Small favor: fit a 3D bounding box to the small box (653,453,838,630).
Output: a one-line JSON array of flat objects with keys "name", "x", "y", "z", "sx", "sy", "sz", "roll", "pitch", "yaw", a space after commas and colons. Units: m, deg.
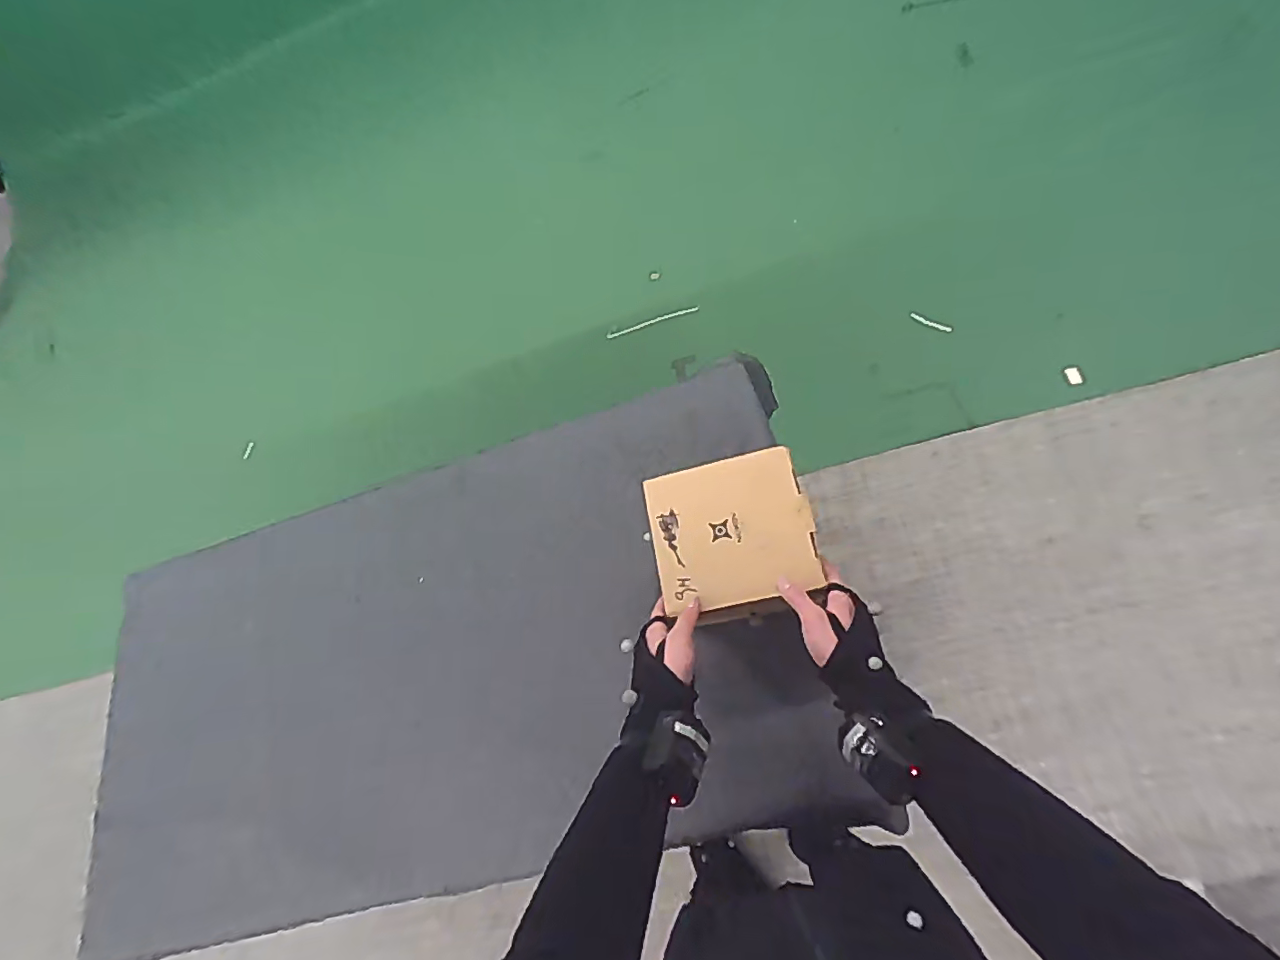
[{"name": "small box", "x": 0.126, "y": 0.086, "z": 0.668, "sx": 0.179, "sy": 0.176, "sz": 0.168, "roll": -13, "pitch": 69, "yaw": 10}]
